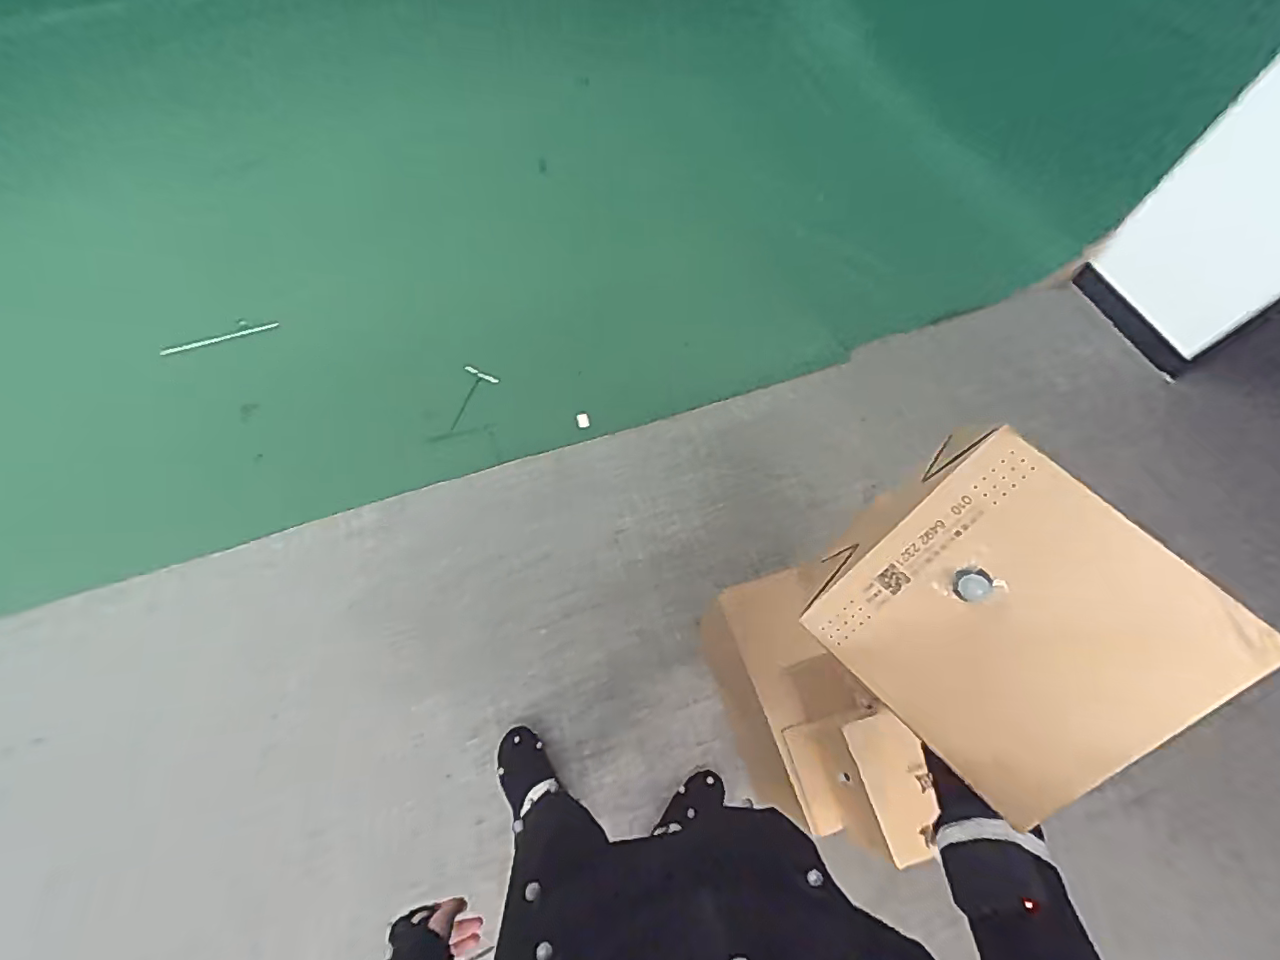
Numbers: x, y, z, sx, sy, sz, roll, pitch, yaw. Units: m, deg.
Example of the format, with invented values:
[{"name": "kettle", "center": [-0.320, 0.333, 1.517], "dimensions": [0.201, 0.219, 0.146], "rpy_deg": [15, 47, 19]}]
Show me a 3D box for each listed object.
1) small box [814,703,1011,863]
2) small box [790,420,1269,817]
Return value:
[{"name": "small box", "center": [0.377, 0.422, 0.791], "dimensions": [0.168, 0.176, 0.179], "rpy_deg": [-15, 65, -4]}, {"name": "small box", "center": [0.229, 0.072, 0.379], "dimensions": [0.176, 0.179, 0.168], "rpy_deg": [43, 108, 14]}]
